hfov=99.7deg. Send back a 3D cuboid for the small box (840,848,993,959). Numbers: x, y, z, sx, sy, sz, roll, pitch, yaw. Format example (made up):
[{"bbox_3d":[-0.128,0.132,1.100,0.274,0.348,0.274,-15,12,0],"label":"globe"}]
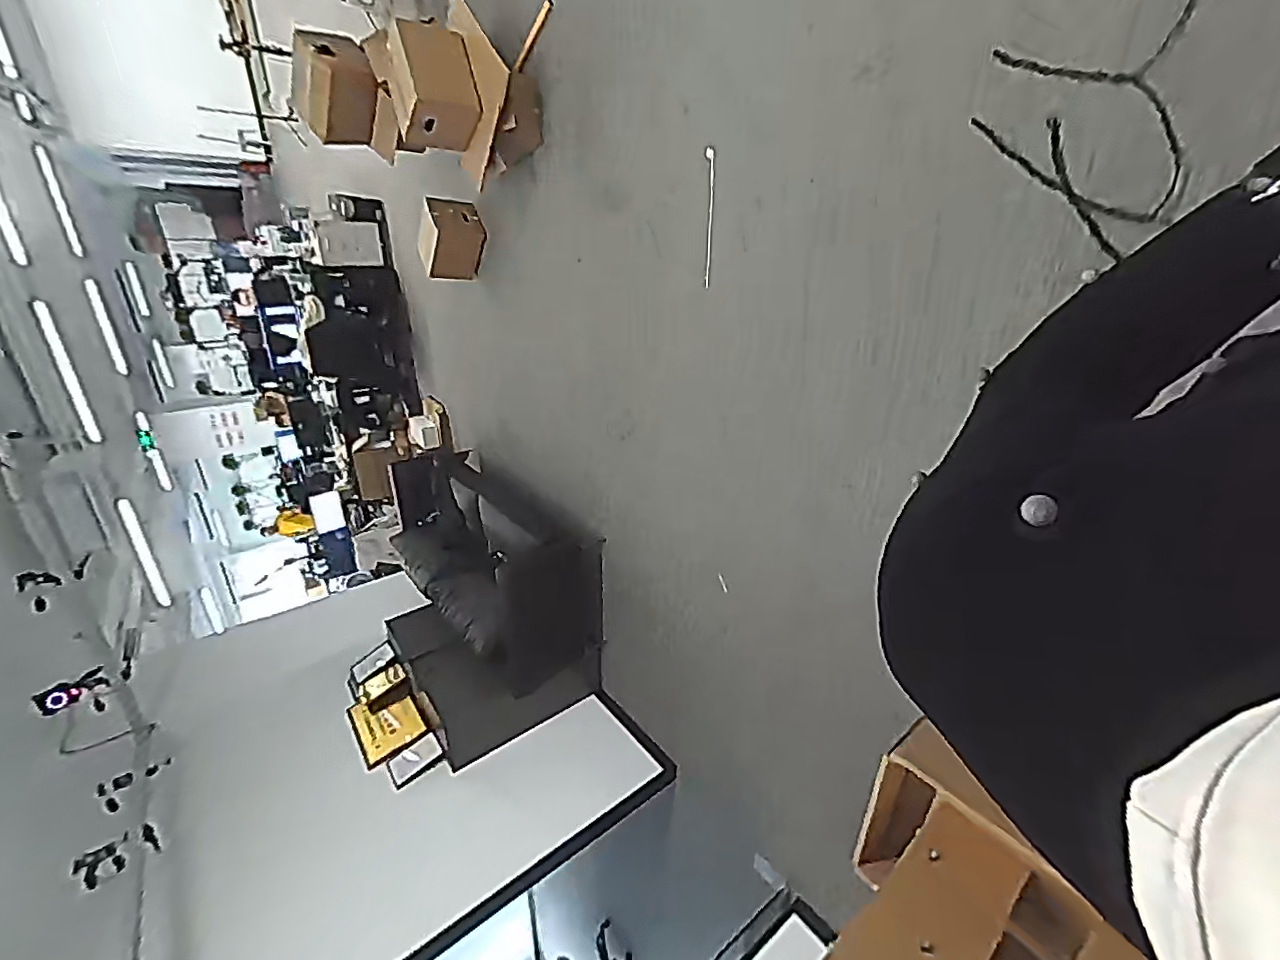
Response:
[{"bbox_3d":[0.505,0.835,0.990,0.179,0.176,0.168,32,129,43],"label":"small box"}]
